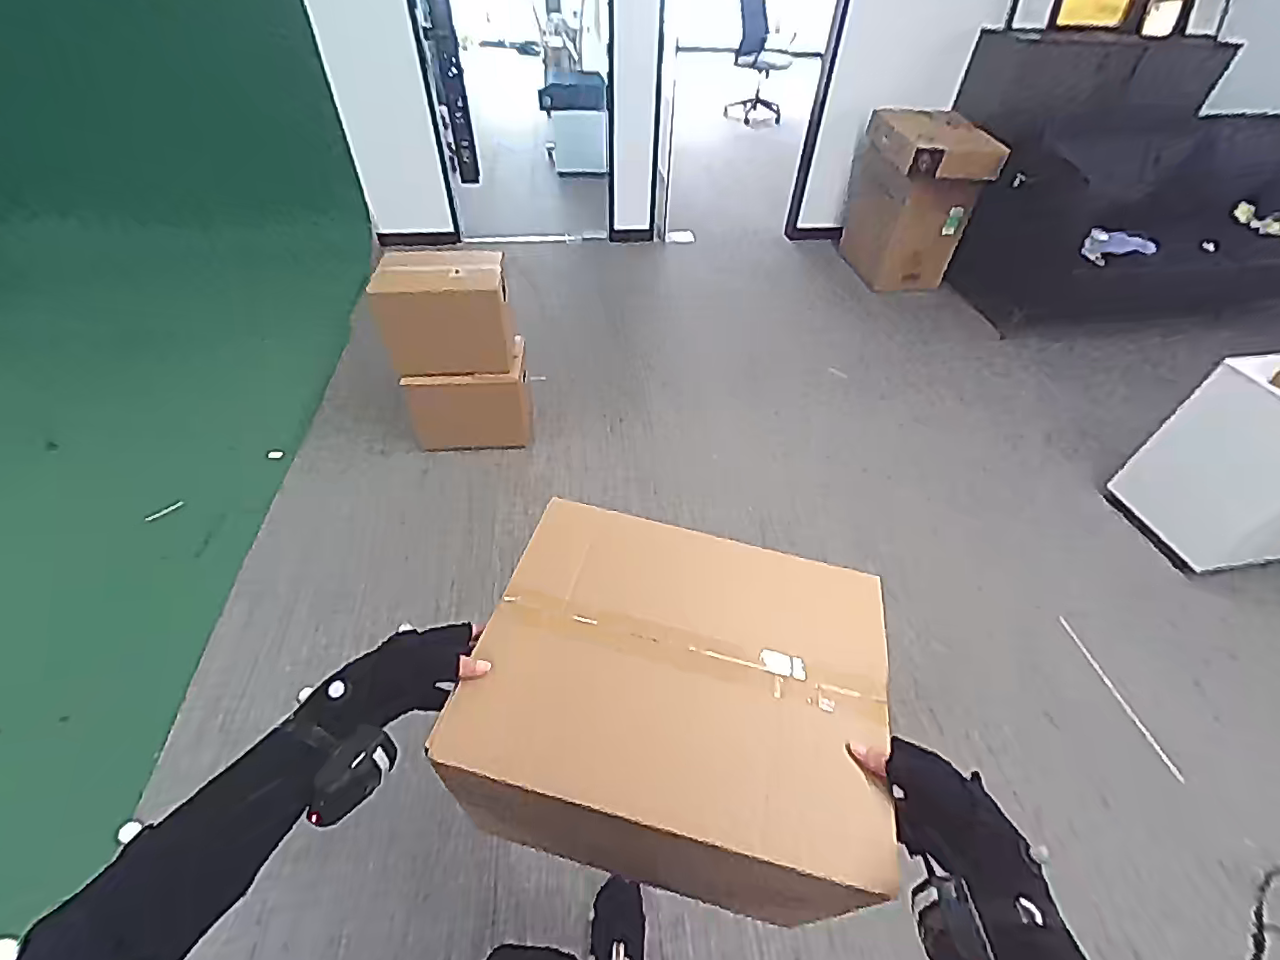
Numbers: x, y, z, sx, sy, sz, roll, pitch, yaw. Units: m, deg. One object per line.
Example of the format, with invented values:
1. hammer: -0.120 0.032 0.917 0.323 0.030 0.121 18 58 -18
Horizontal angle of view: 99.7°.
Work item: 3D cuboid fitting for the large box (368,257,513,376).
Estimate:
1. large box: -0.675 -0.577 1.899 0.408 0.320 0.320 -3 43 -7
